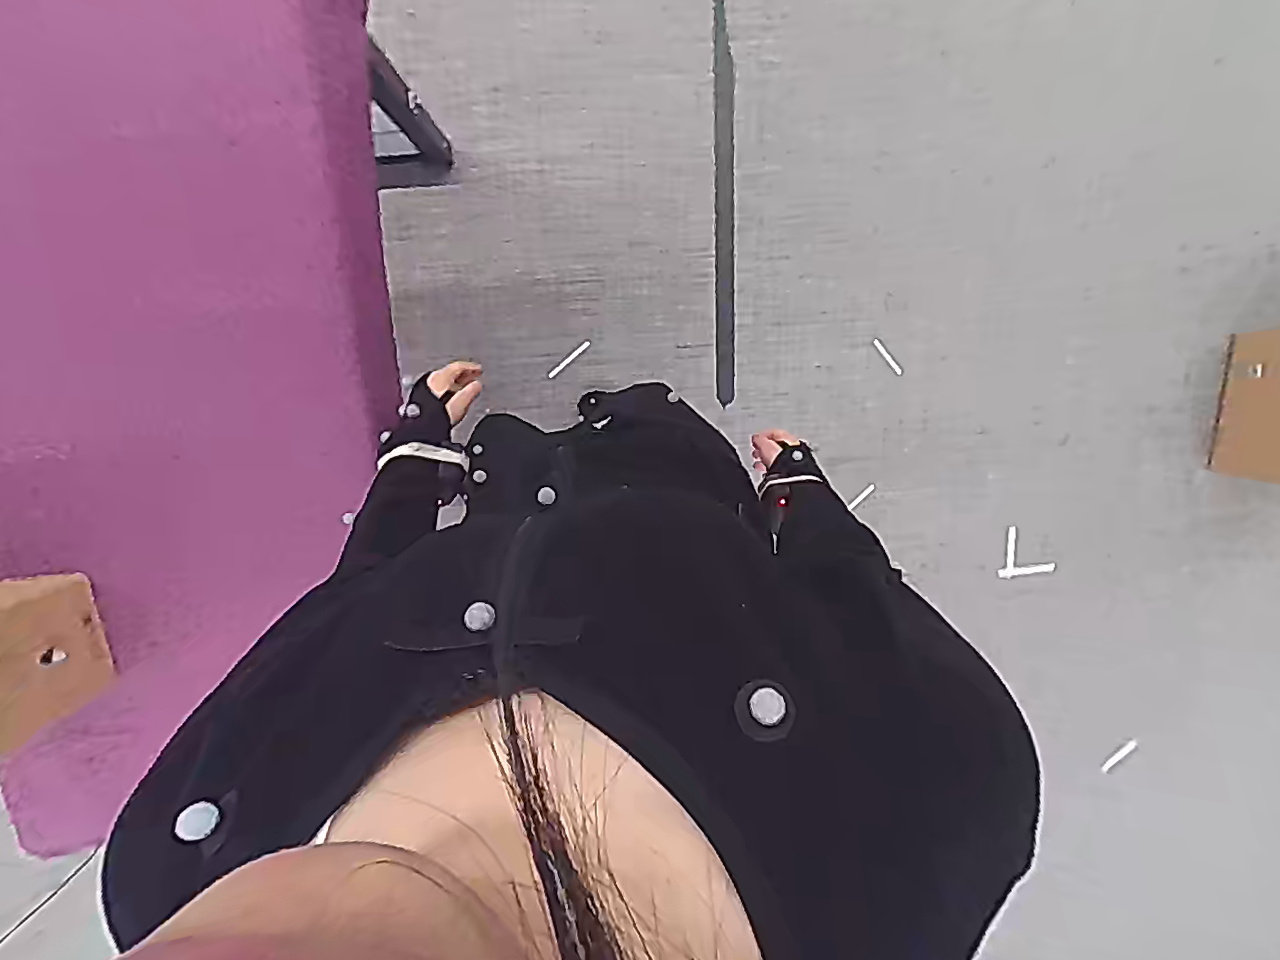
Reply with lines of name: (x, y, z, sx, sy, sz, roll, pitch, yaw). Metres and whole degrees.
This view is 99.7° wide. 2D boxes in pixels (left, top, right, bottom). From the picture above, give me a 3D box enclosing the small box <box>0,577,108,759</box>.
small box: (-0.819, 0.229, 0.665, 0.179, 0.176, 0.168, -5, 102, -5)
